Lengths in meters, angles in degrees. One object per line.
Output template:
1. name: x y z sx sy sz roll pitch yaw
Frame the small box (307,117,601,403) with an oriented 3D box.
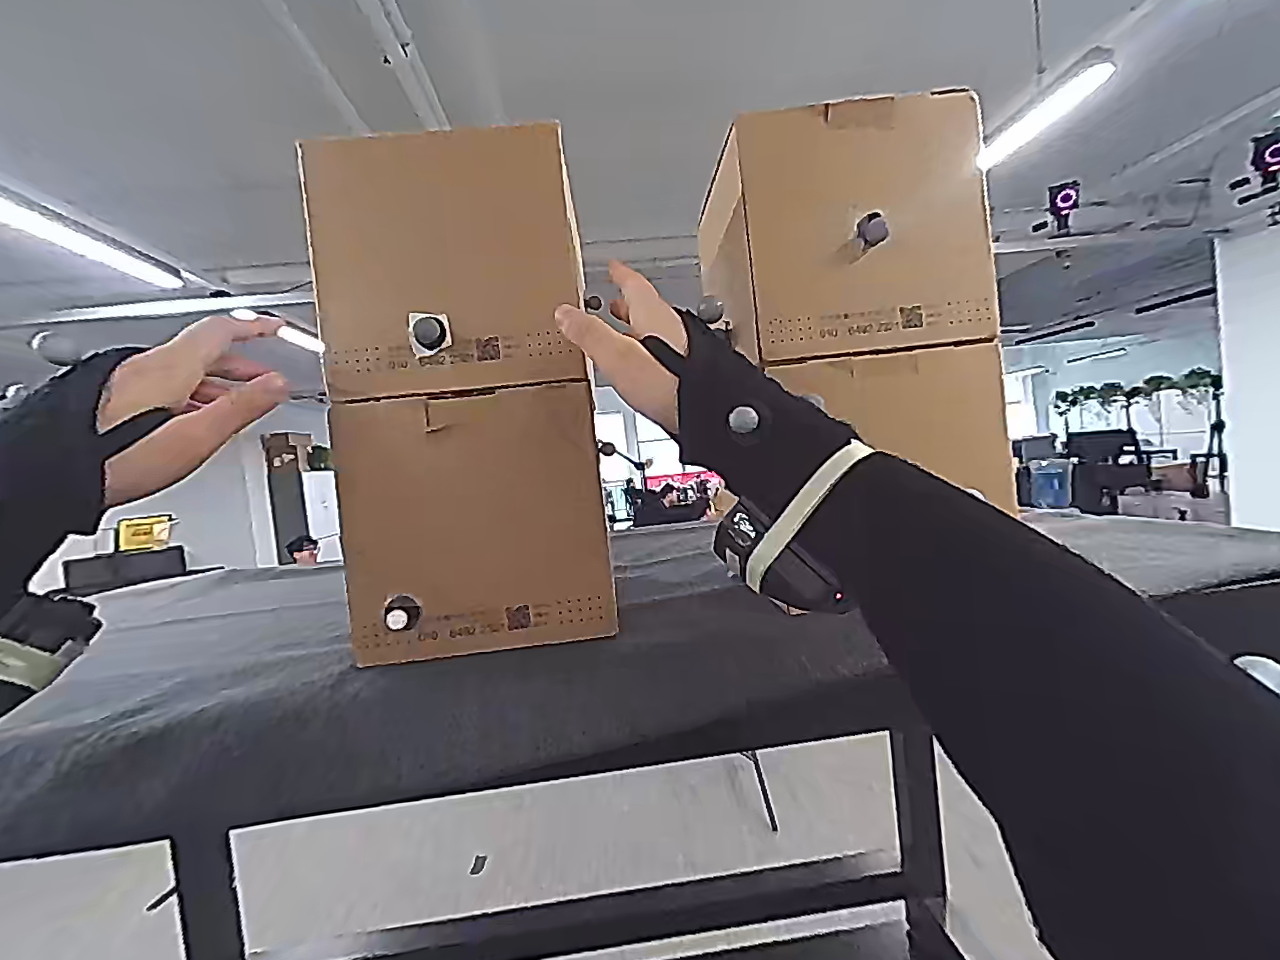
1. small box: -0.123 -0.139 0.422 0.168 0.176 0.179 -7 1 -3

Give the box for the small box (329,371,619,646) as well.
1. small box: -0.107 0.023 0.422 0.168 0.176 0.179 -6 0 -4

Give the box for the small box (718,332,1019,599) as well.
1. small box: 0.166 -0.008 0.441 0.168 0.176 0.179 -8 1 -3

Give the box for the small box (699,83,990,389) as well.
1. small box: 0.149 -0.171 0.438 0.168 0.176 0.179 -6 2 -2
